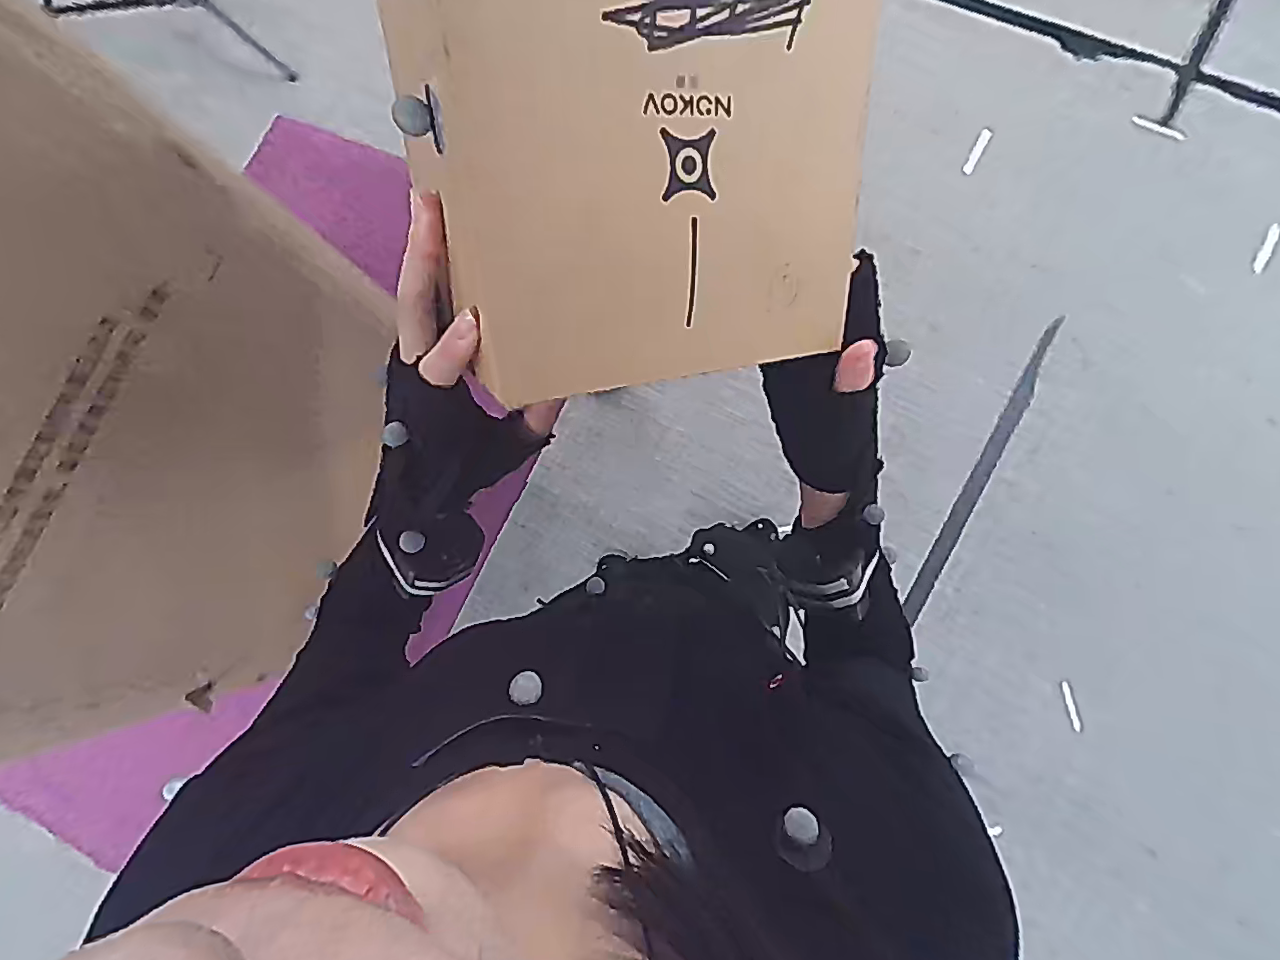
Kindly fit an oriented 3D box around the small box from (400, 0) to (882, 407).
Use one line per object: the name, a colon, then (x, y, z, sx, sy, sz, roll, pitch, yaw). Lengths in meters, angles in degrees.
small box: (-0.013, -0.149, 0.268, 0.168, 0.176, 0.179, -13, 116, -22)
